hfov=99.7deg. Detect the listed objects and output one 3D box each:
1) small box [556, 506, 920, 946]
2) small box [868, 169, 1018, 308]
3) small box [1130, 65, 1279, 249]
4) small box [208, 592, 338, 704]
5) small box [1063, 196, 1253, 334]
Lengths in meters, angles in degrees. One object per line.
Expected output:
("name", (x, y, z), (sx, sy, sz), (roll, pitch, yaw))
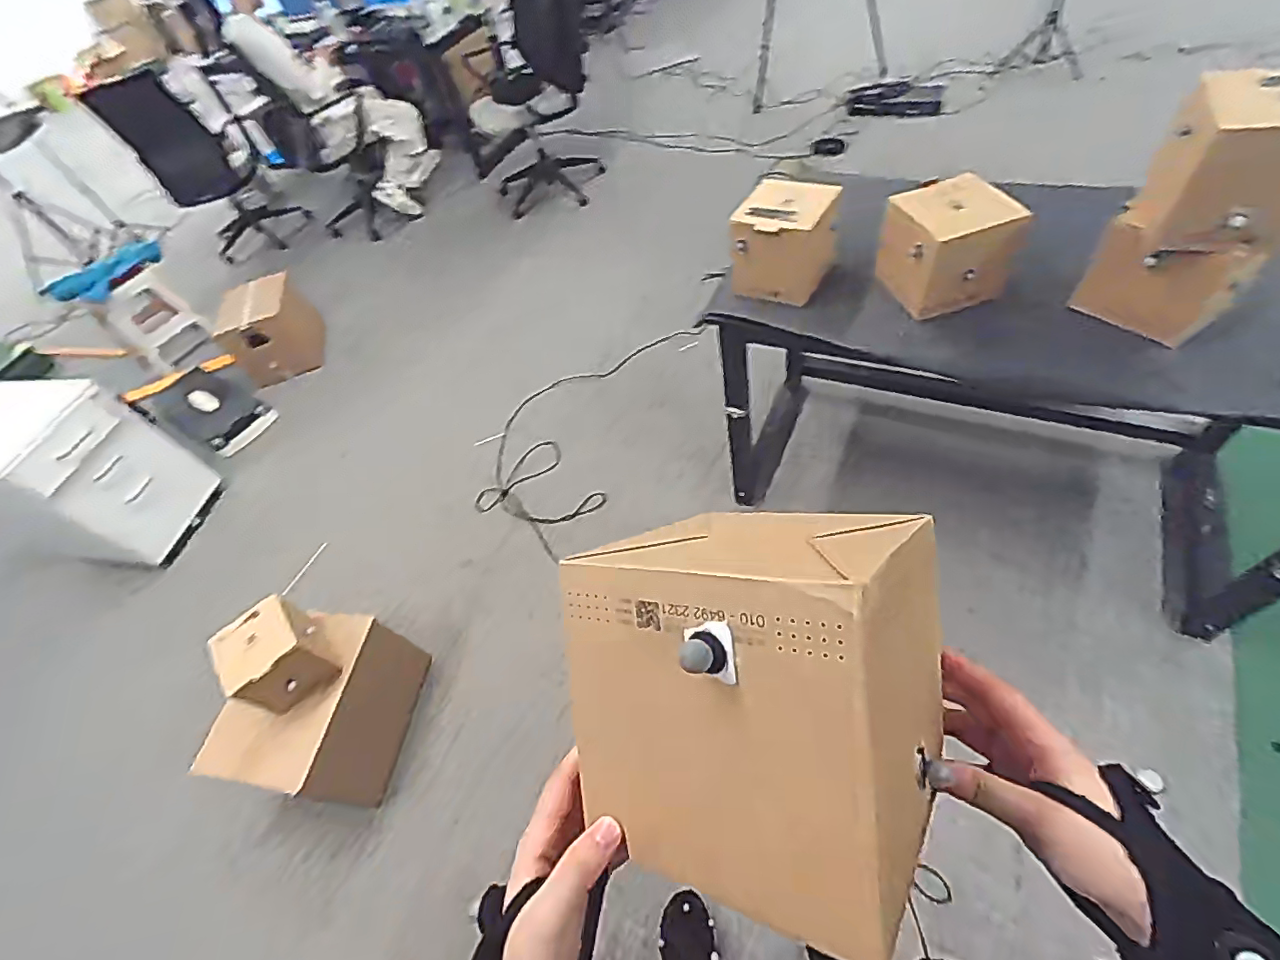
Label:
("small box", (0.068, 0.108, 0.335), (0.168, 0.179, 0.176), (-2, 94, 38))
("small box", (0.562, -0.450, 1.031), (0.168, 0.176, 0.179), (-17, 52, -1))
("small box", (0.834, -0.454, 0.762), (0.168, 0.176, 0.179), (12, 58, 22))
("small box", (-0.853, 0.403, 1.272), (0.168, 0.176, 0.179), (-40, 58, -17))
("small box", (0.870, -0.369, 0.900), (0.168, 0.176, 0.179), (-33, 53, -12))
